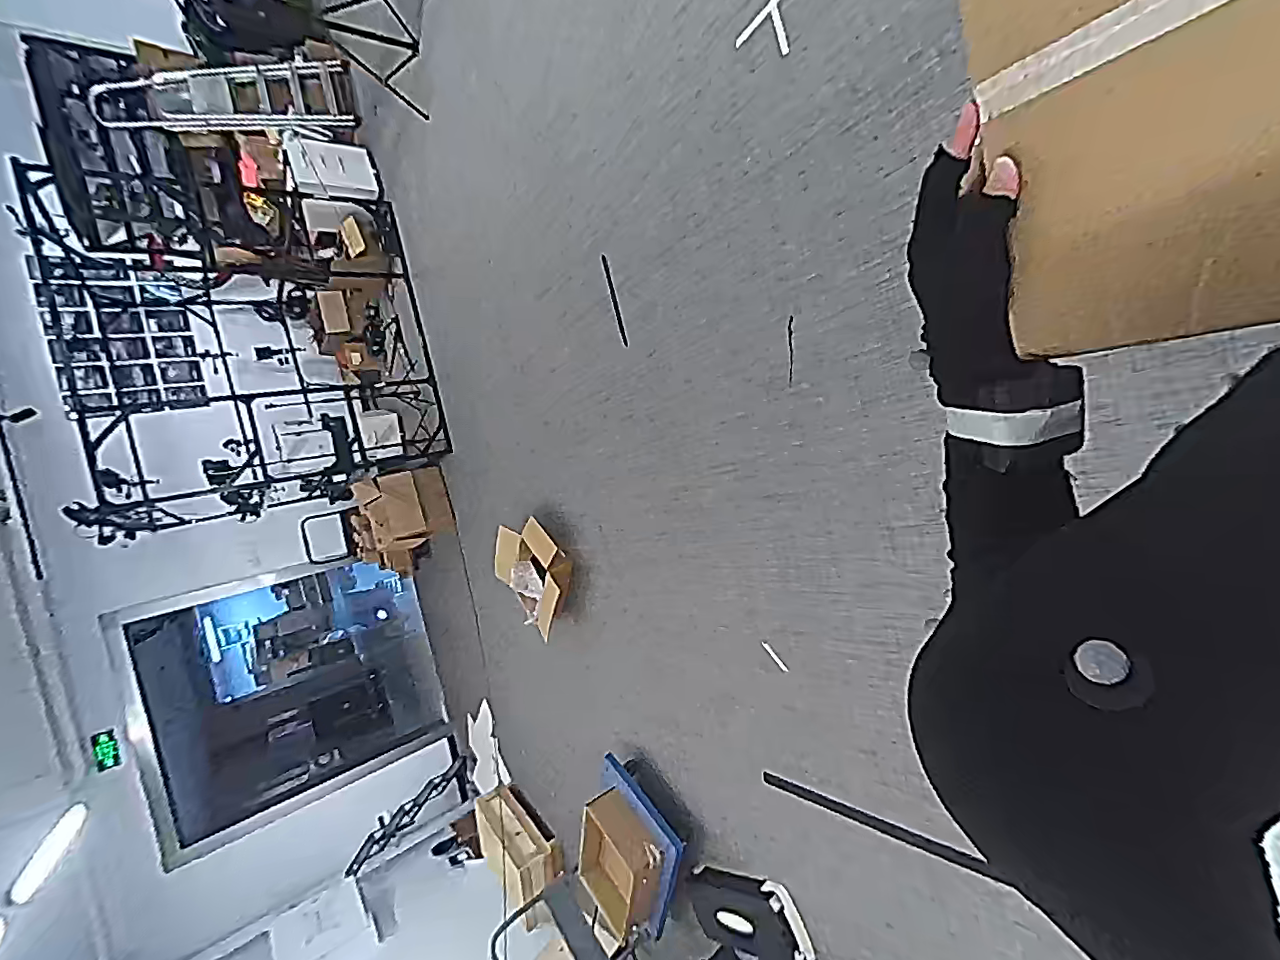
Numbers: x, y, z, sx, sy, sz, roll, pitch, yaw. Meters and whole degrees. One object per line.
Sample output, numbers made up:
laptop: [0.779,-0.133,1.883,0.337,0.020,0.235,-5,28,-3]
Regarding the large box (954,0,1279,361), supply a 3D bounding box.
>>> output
large box: [0.436,-0.278,0.256,0.408,0.320,0.320,-2,106,54]
